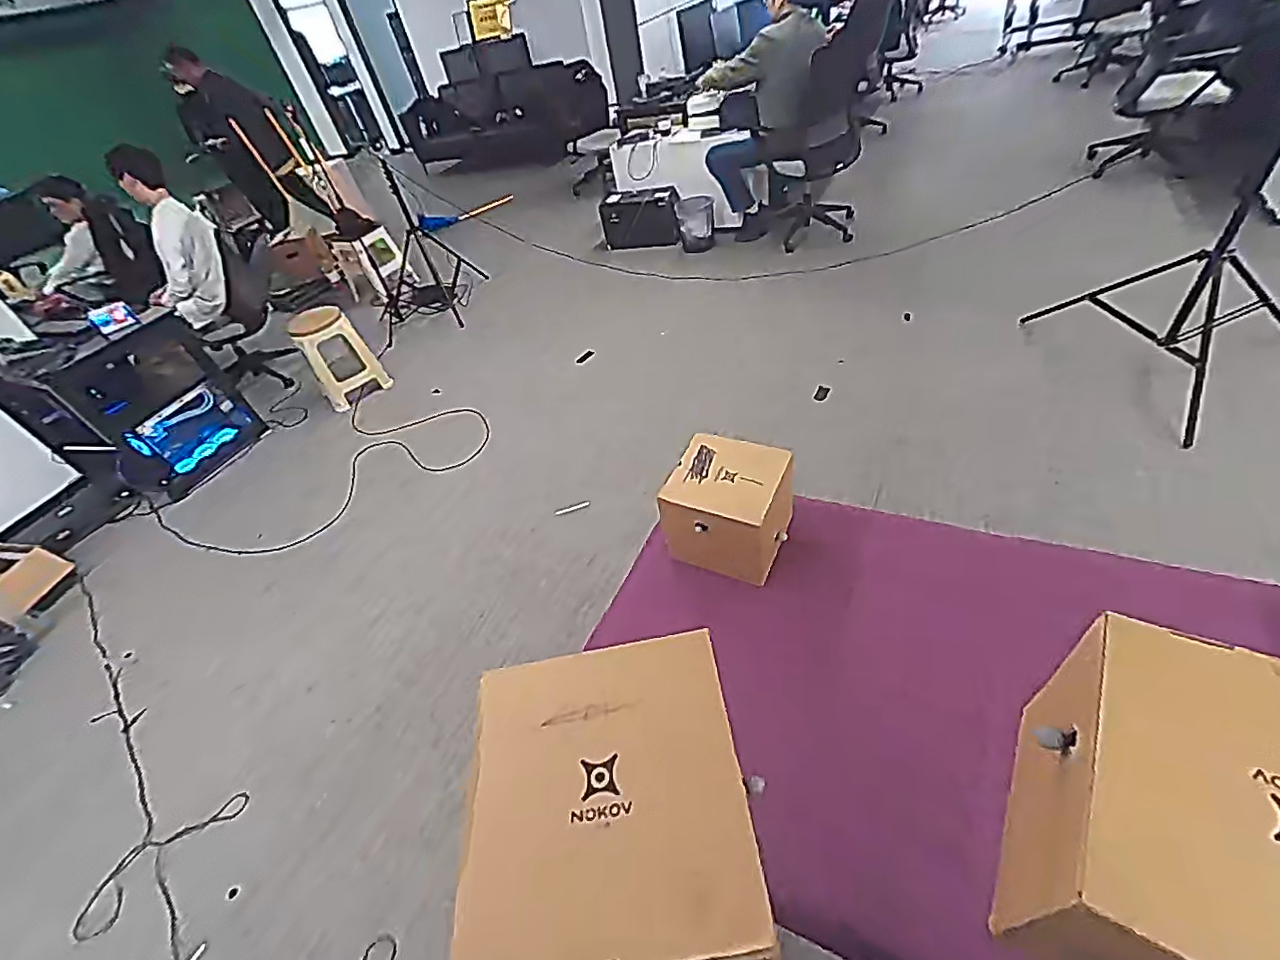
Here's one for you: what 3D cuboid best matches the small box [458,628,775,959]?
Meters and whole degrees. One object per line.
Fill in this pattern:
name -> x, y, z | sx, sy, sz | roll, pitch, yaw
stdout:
small box -> -0.008, 0.234, 0.378 | 0.168, 0.176, 0.179 | -11, 43, 1

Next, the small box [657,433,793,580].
small box -> 0.152, 0.047, 0.929 | 0.179, 0.176, 0.168 | 15, 52, 26

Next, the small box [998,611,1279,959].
small box -> 0.335, 0.218, 0.319 | 0.168, 0.176, 0.179 | 18, 53, 29
